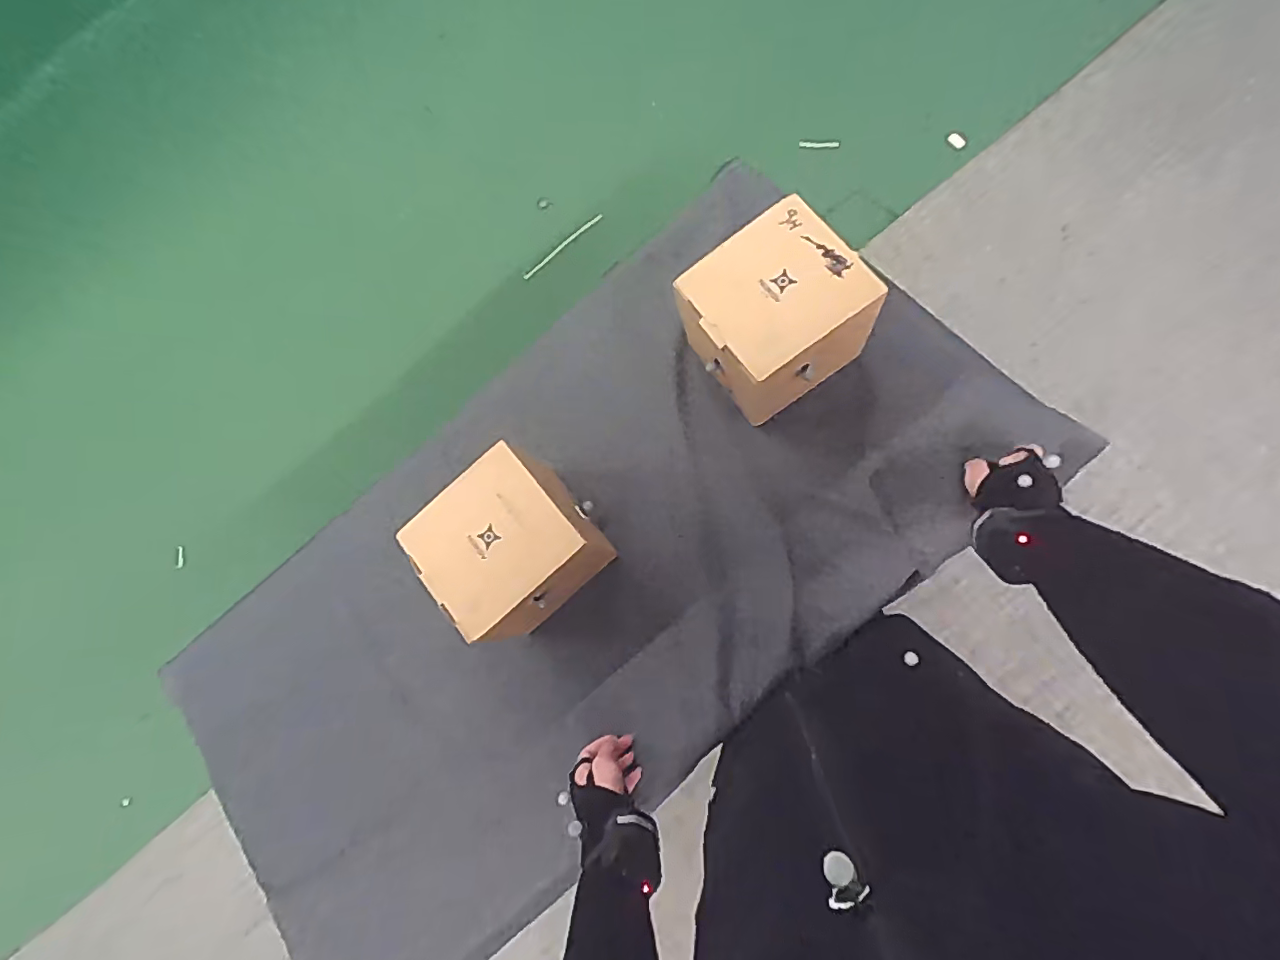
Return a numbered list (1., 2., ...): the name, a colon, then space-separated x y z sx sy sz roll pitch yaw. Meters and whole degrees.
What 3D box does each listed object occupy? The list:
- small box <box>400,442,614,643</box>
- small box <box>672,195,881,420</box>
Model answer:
1. small box: -0.157 0.085 0.698 0.179 0.176 0.168 -42 75 0
2. small box: 0.166 -0.201 0.682 0.179 0.176 0.168 -36 75 4
